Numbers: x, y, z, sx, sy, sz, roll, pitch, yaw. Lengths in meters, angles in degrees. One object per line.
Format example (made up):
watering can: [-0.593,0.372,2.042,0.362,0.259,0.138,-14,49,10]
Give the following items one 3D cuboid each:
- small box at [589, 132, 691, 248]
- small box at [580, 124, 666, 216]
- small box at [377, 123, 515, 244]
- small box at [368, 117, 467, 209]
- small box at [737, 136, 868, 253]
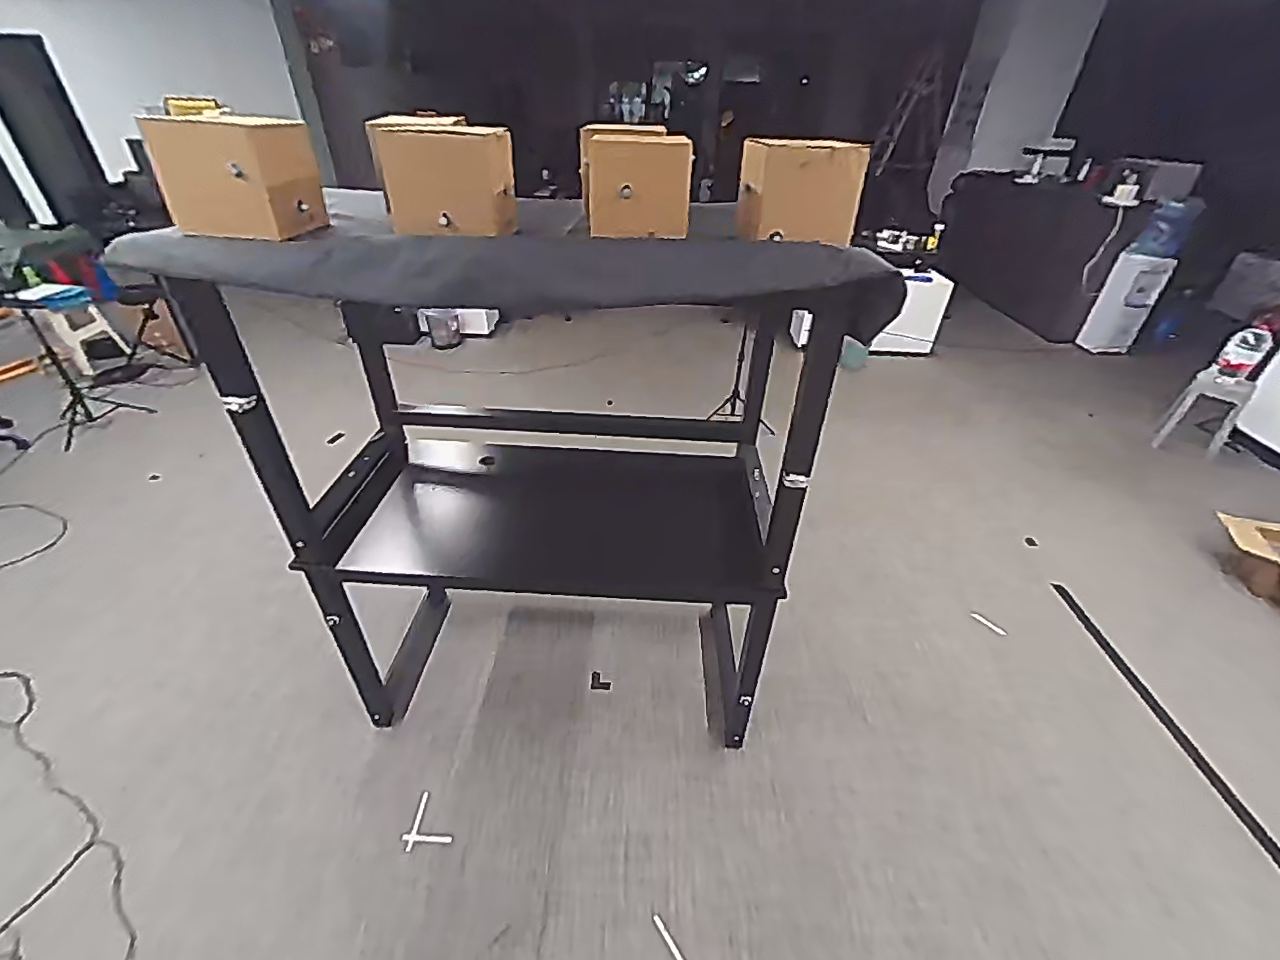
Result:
small box: [0.000,-0.520,0.968,0.168,0.176,0.179,1,34,-1]
small box: [-0.033,-0.686,1.202,0.179,0.176,0.168,3,36,1]
small box: [-0.323,-0.517,0.945,0.179,0.176,0.168,3,34,-1]
small box: [-0.467,-0.692,1.189,0.168,0.176,0.179,-2,35,-4]
small box: [0.275,-0.507,0.958,0.168,0.176,0.179,-1,34,-3]
